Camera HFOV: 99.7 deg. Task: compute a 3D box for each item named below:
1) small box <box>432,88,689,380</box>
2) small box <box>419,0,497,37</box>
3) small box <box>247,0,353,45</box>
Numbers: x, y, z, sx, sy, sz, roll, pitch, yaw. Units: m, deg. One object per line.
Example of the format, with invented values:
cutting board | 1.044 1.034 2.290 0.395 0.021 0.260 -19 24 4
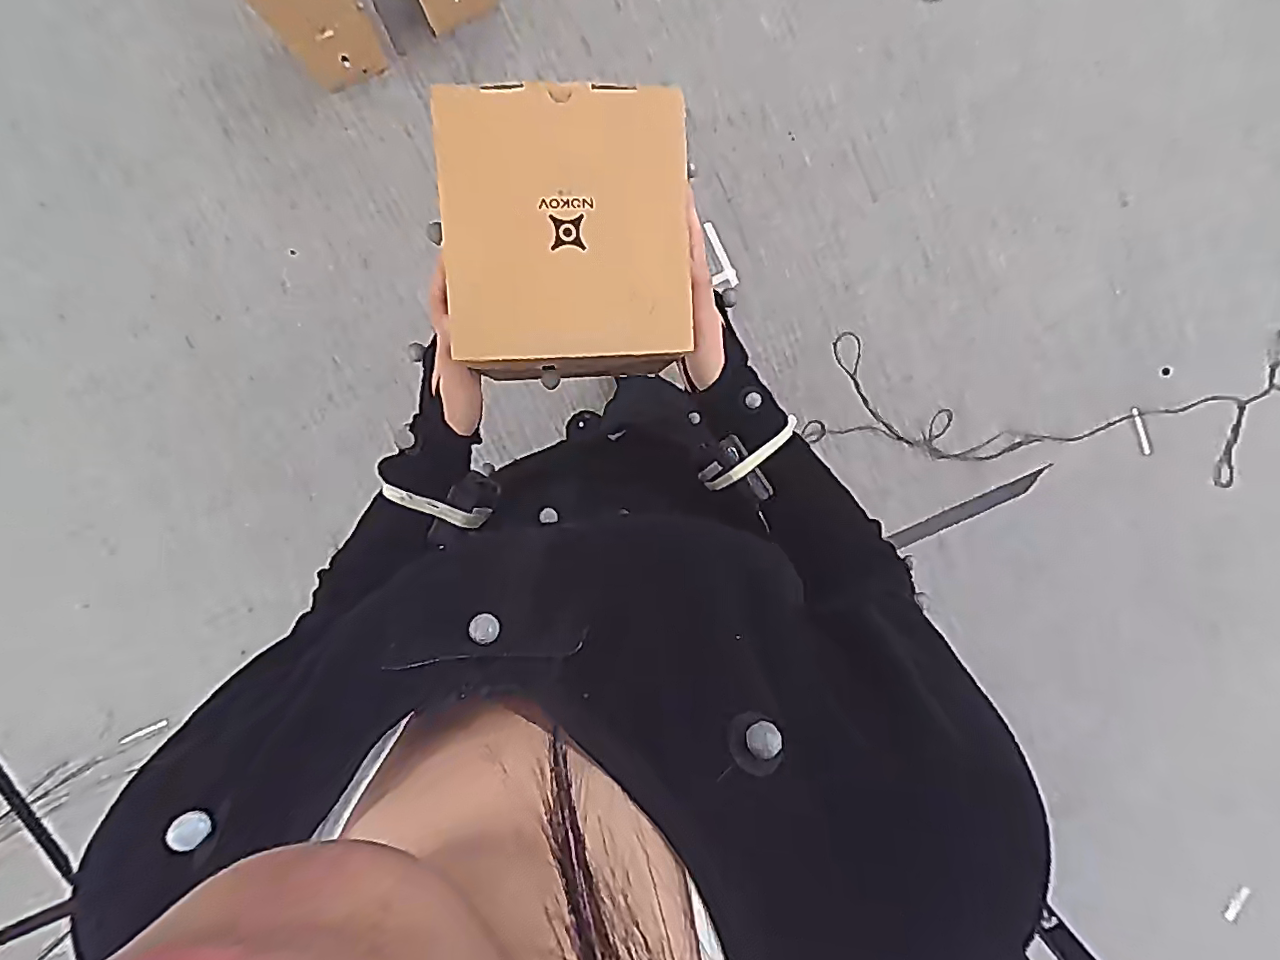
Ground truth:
small box | -0.056 -0.176 0.439 0.168 0.176 0.179 -4 95 -6
small box | -0.440 -1.168 1.221 0.179 0.176 0.168 -25 98 2
small box | -0.701 -1.022 1.064 0.179 0.176 0.168 -24 97 1
